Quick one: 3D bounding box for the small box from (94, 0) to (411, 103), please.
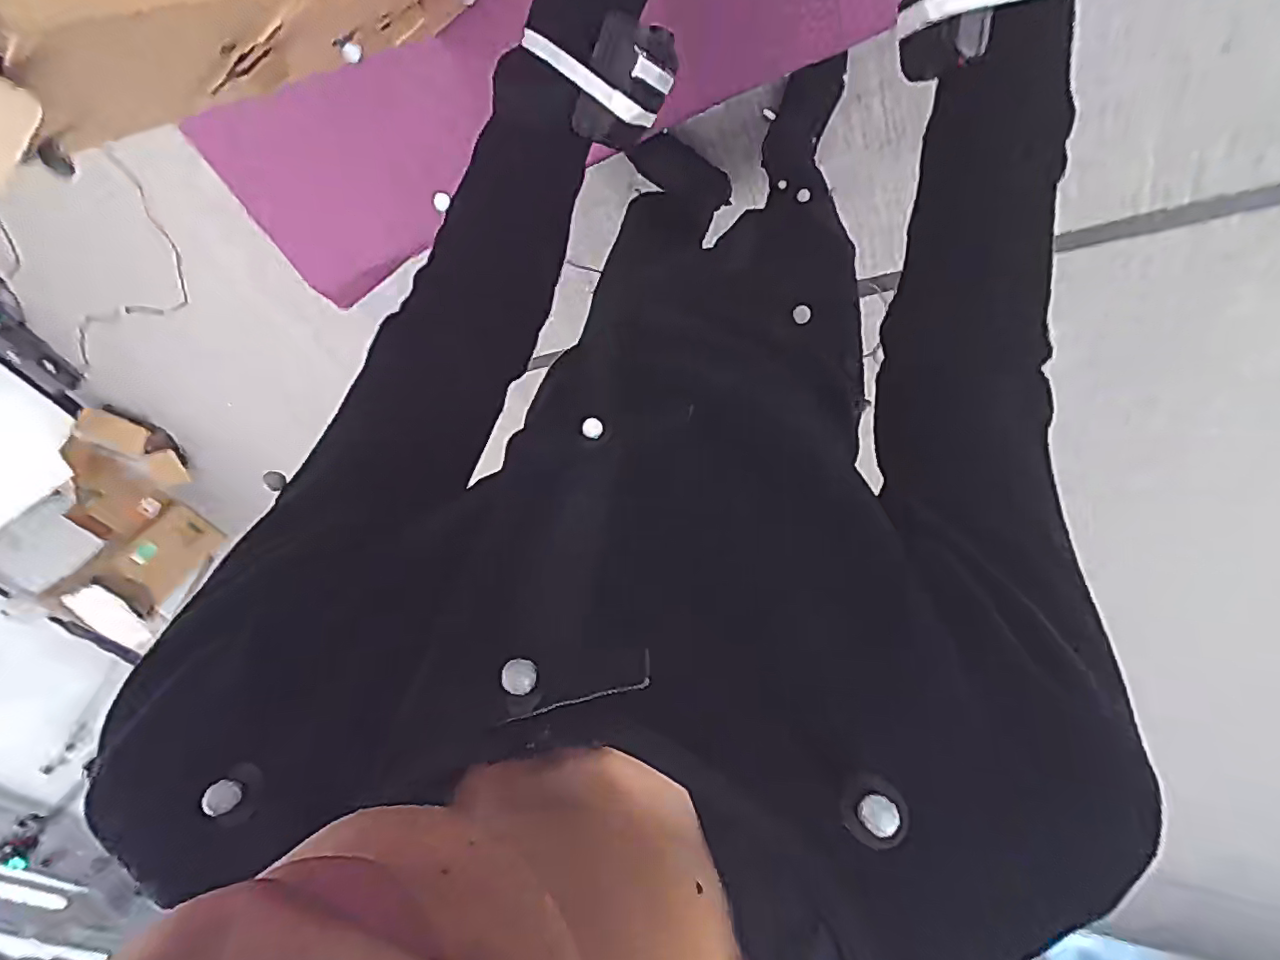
[{"bbox_3d":[-0.283,-0.405,0.369,0.168,0.176,0.179,-7,132,30],"label":"small box"}]

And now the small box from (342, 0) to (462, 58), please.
[{"bbox_3d":[-0.226,-0.523,0.471,0.168,0.176,0.179,-9,131,31],"label":"small box"}]
